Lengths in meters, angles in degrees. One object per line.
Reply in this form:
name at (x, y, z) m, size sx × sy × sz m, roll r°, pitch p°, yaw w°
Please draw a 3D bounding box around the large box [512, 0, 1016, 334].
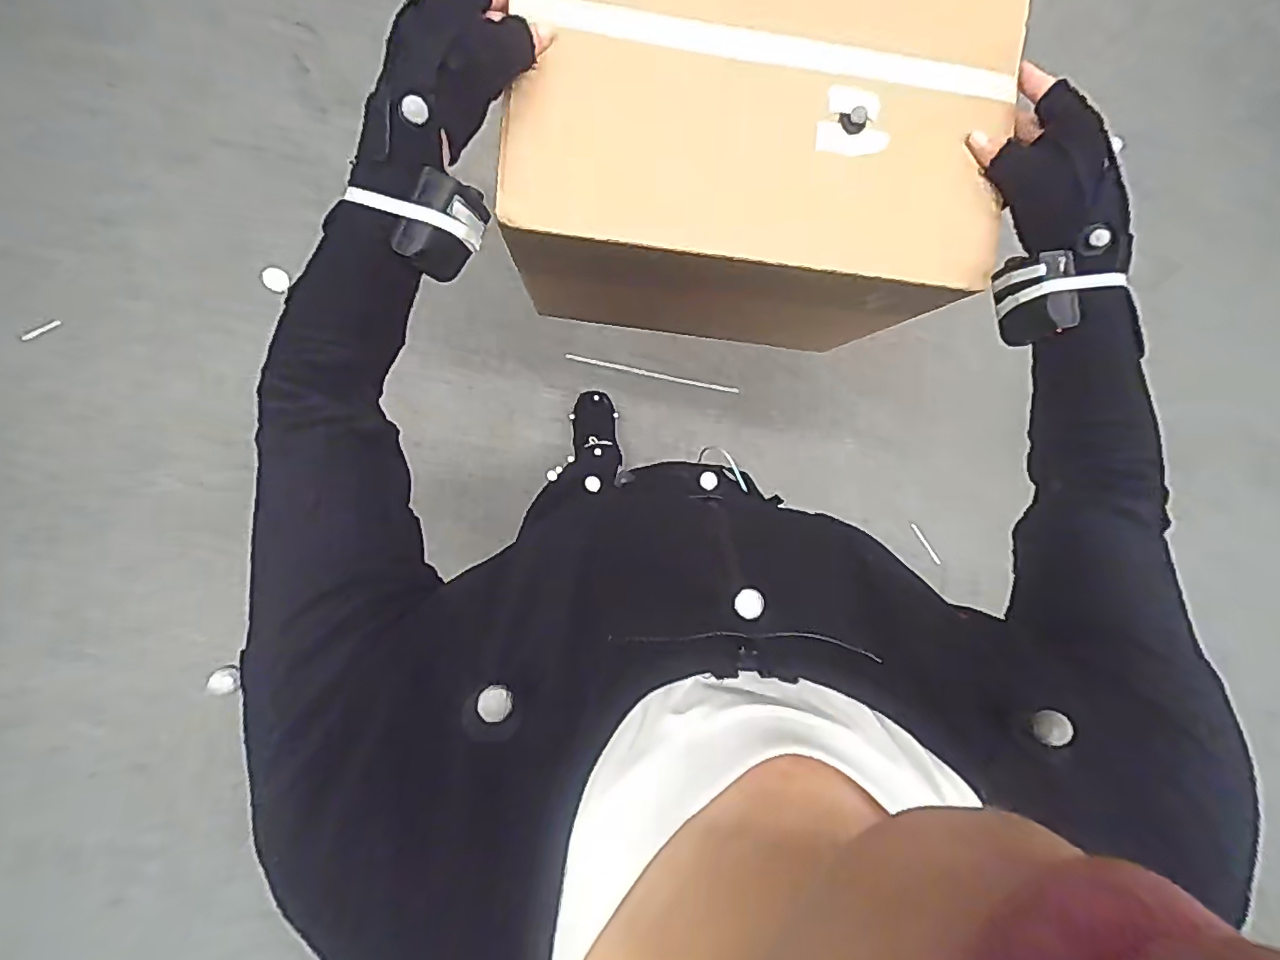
large box at (0.090, -0.356, 0.578) m, size 0.408 × 0.320 × 0.320 m, roll 5°, pitch 95°, yaw -7°
